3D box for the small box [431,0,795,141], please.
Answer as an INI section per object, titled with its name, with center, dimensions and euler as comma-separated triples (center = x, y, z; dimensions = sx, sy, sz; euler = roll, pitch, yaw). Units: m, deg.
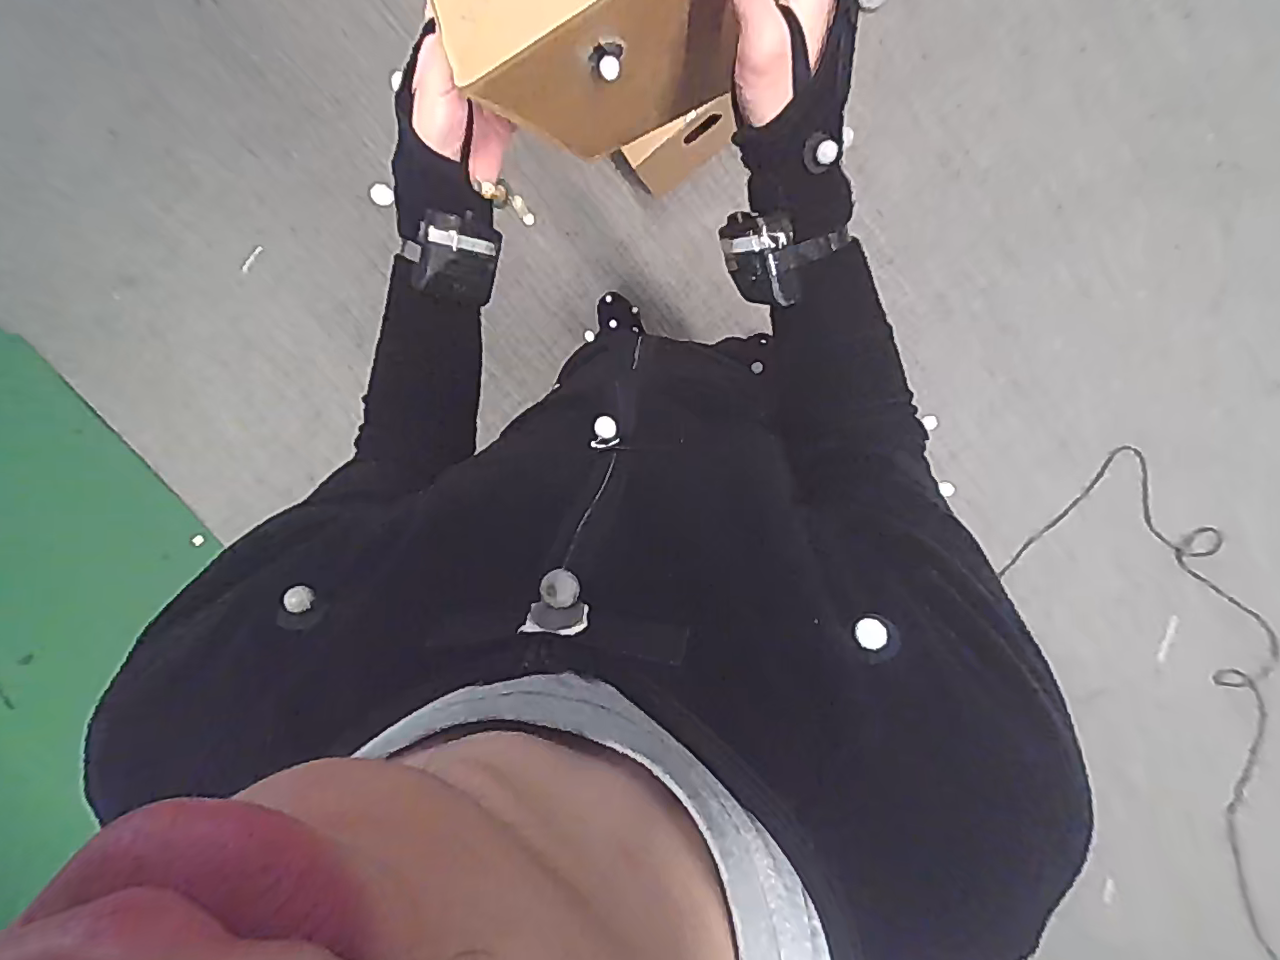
[small box]
center = -0.019, -0.339, 0.320
dimensions = 0.179, 0.176, 0.168
euler = -13, 100, 24
